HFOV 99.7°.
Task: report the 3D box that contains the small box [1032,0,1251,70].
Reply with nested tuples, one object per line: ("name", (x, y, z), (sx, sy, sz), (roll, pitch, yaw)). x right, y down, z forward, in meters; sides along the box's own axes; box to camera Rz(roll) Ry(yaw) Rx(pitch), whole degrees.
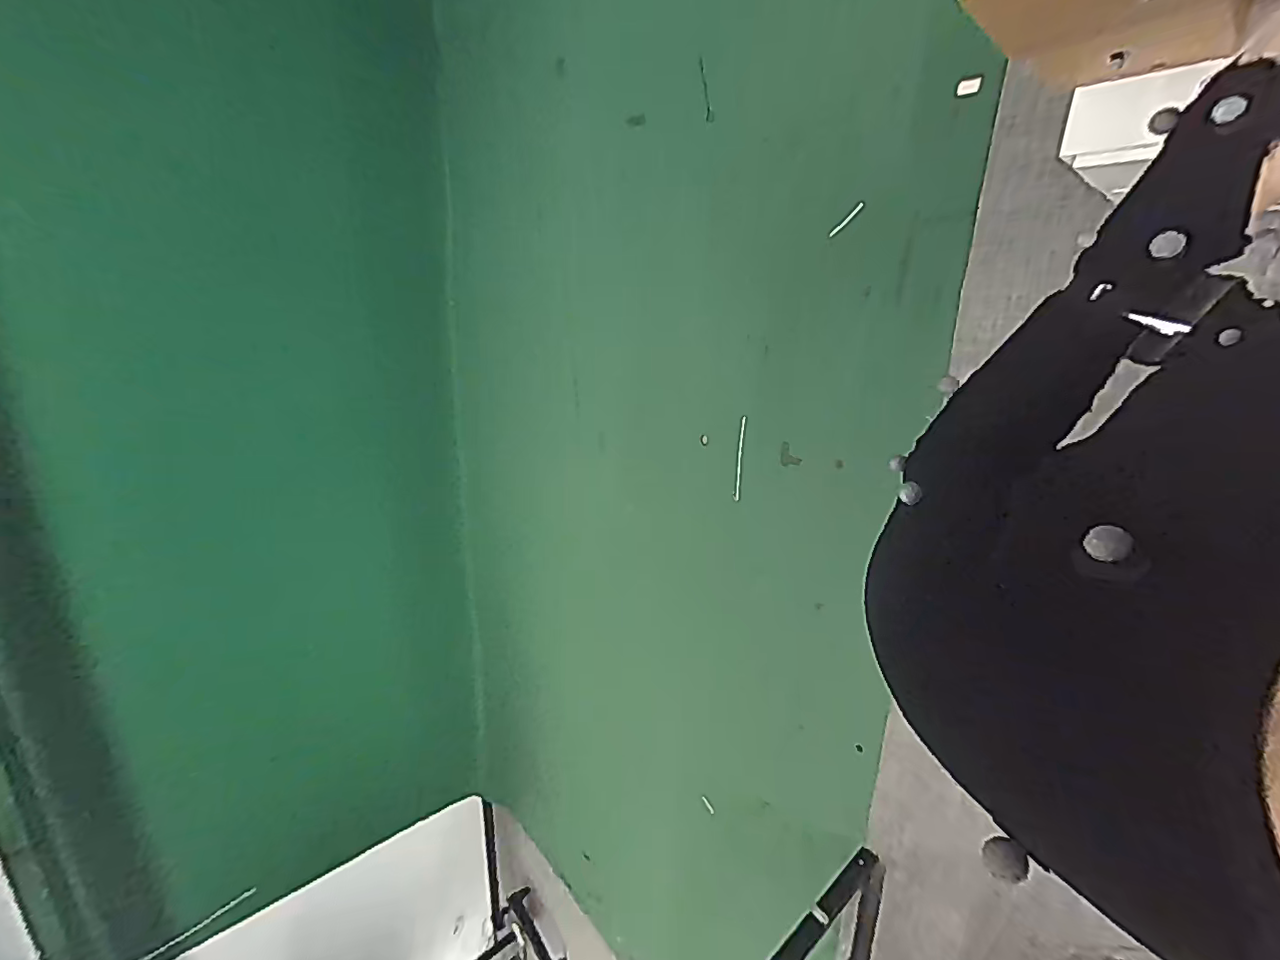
("small box", (0.539, -0.562, 0.564), (0.168, 0.176, 0.179), (20, 115, 43))

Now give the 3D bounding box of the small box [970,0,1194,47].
("small box", (0.417, -0.519, 0.465), (0.179, 0.176, 0.168), (20, 114, 46))
